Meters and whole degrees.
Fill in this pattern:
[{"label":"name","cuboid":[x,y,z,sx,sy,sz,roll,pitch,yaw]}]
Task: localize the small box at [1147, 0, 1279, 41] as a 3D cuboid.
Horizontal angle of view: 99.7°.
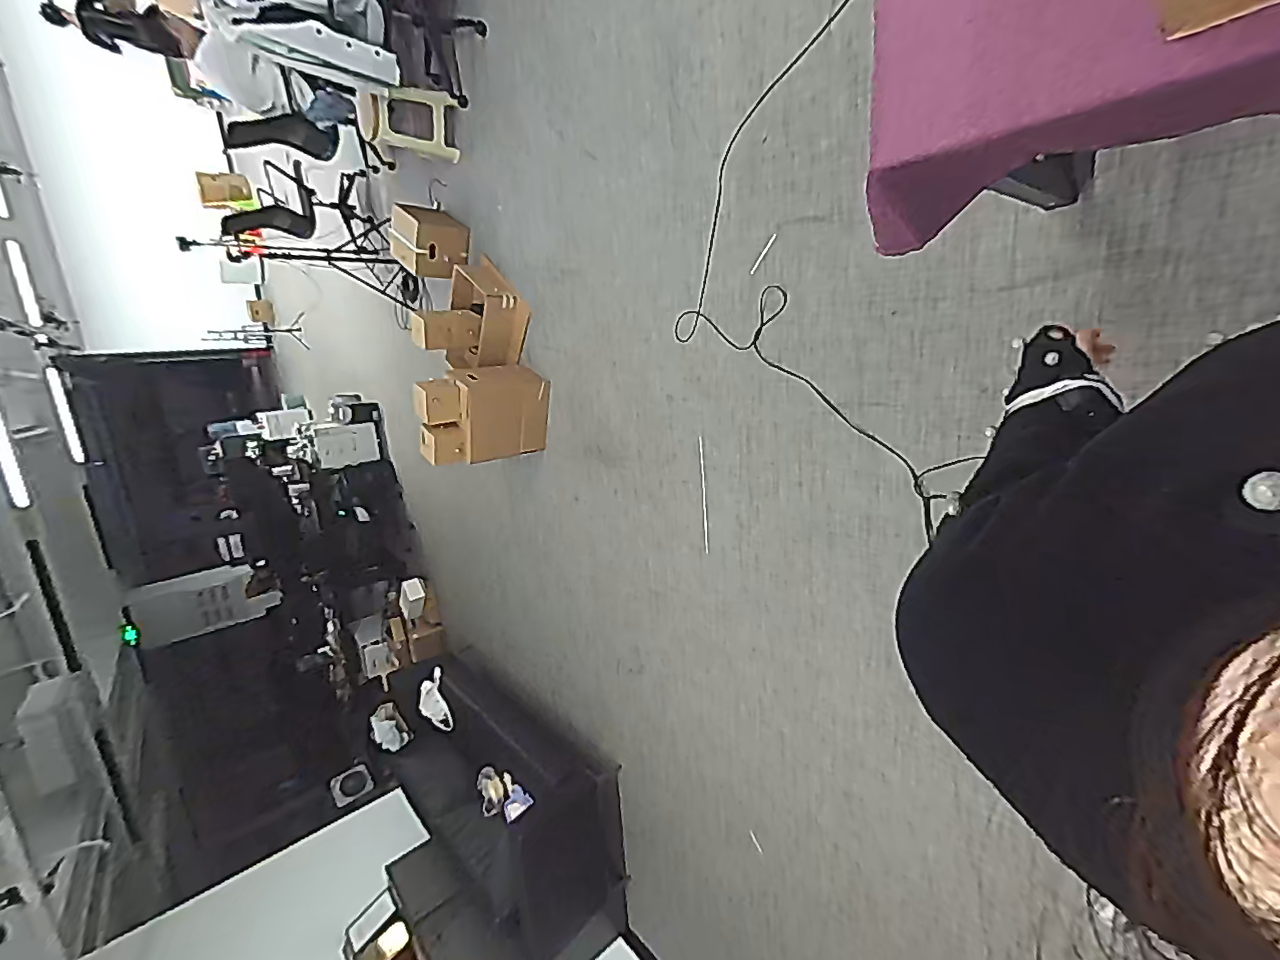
[{"label":"small box","cuboid":[0.510,-0.497,0.418,0.168,0.176,0.179,10,109,49]}]
